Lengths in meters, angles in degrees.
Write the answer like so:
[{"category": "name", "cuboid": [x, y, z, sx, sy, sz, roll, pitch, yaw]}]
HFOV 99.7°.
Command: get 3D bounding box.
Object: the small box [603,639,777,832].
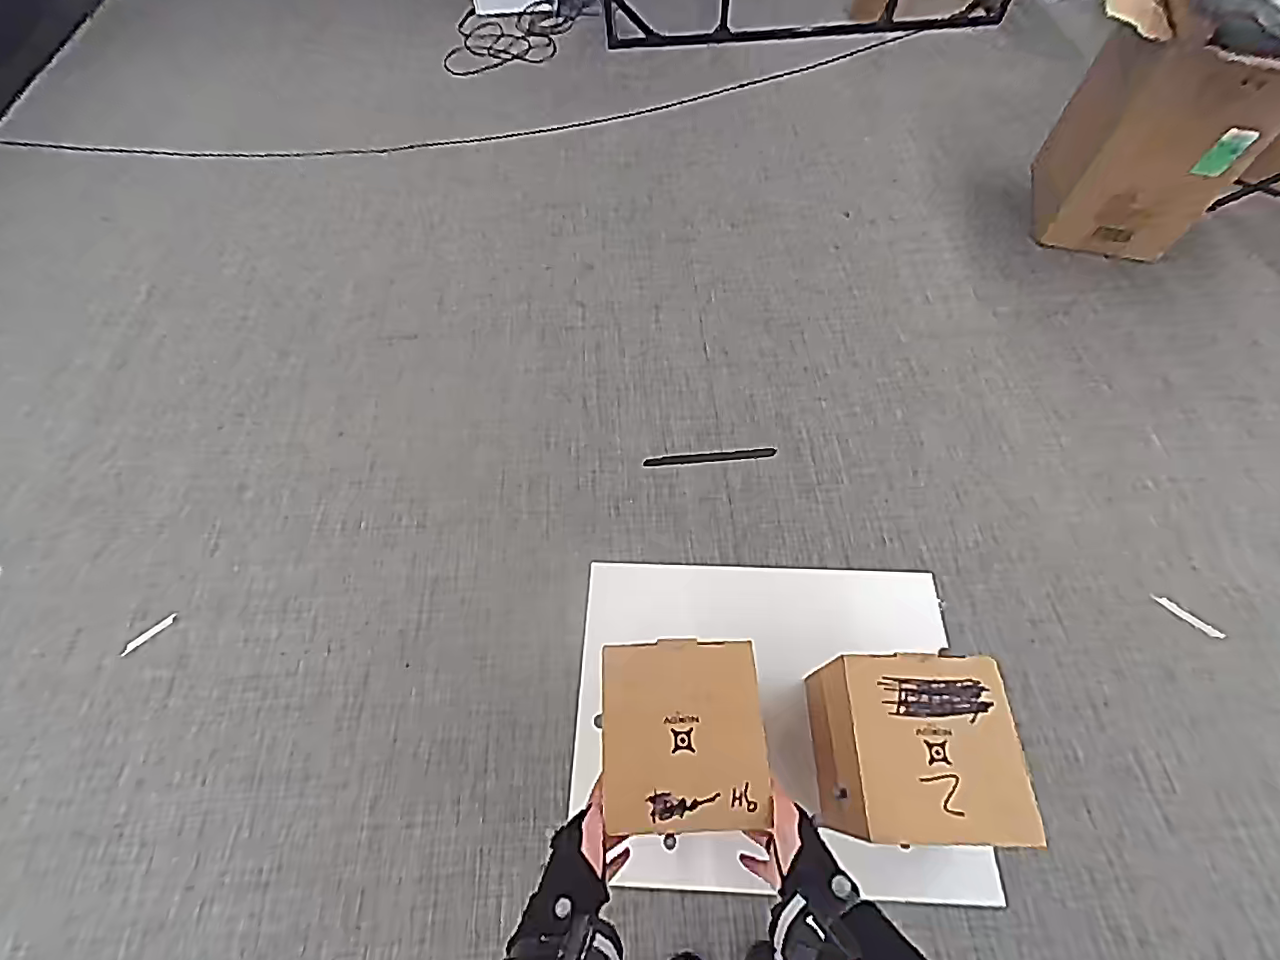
[{"category": "small box", "cuboid": [0.045, 0.288, 0.613, 0.168, 0.176, 0.179, -2, 62, 0]}]
